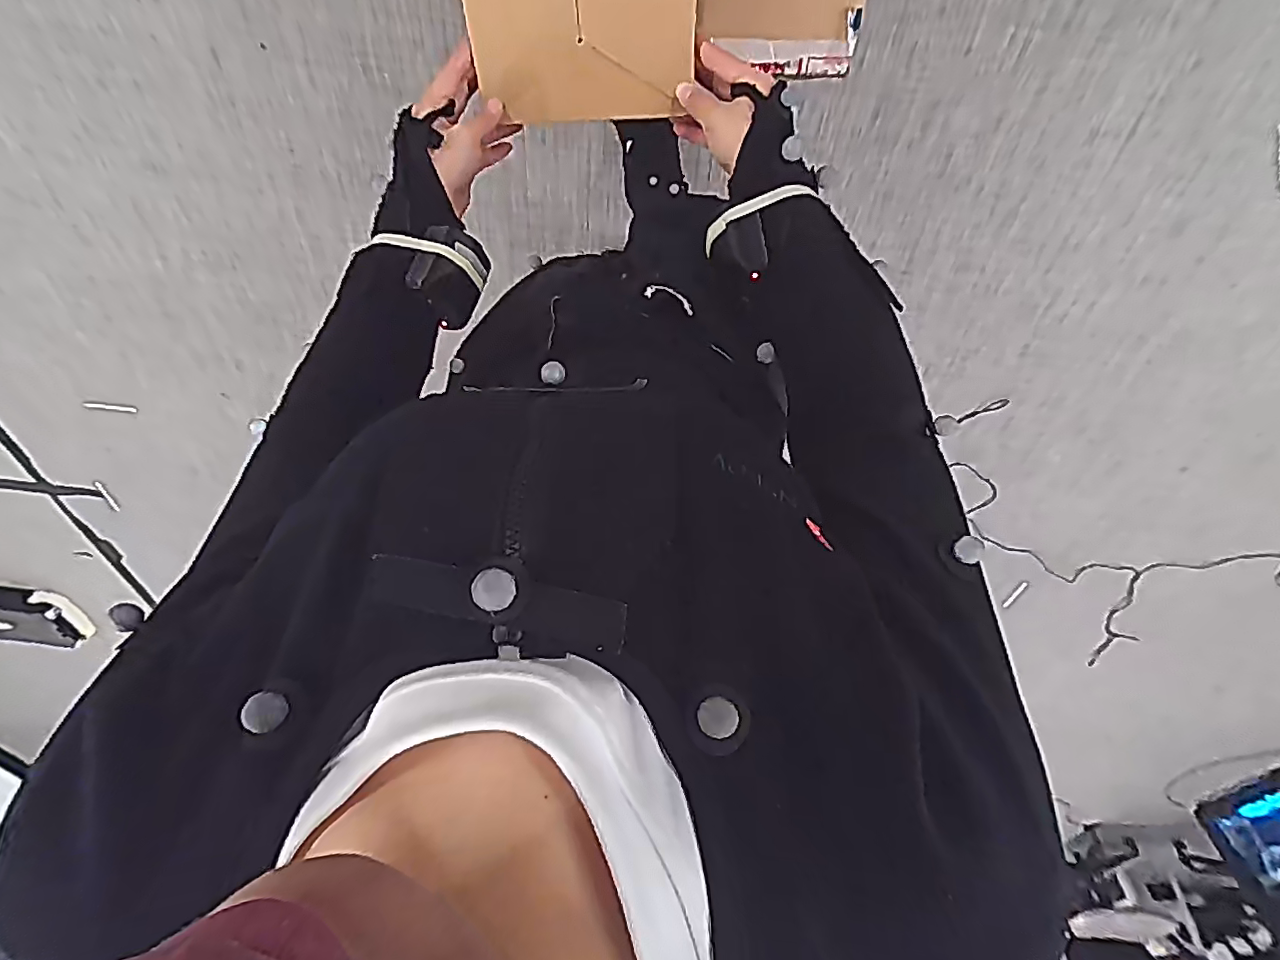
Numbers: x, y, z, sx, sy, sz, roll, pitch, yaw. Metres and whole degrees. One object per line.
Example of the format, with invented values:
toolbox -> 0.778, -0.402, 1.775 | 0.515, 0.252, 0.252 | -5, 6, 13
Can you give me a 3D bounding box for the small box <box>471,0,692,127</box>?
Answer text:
small box -> -0.044, -0.414, 0.464 | 0.179, 0.176, 0.168 | 1, 130, 4
